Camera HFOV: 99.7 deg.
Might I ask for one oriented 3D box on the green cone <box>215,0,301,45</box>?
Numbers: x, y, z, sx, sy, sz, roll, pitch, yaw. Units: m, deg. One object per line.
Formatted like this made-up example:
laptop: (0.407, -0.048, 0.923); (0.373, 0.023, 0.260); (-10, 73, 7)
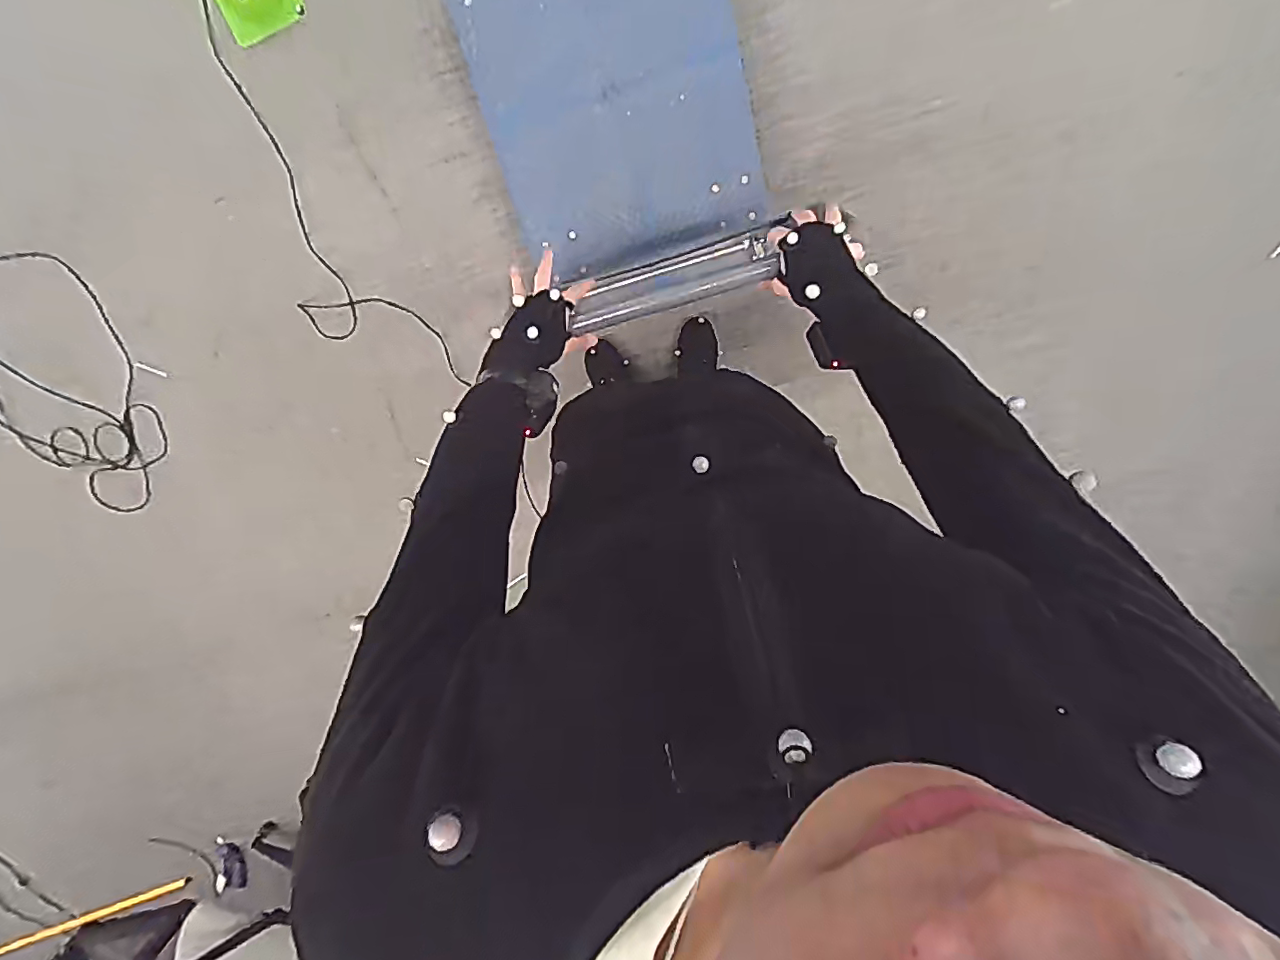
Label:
green cone: (-0.944, -1.131, 1.128); (0.202, 0.368, 0.200); (-19, 107, 10)
